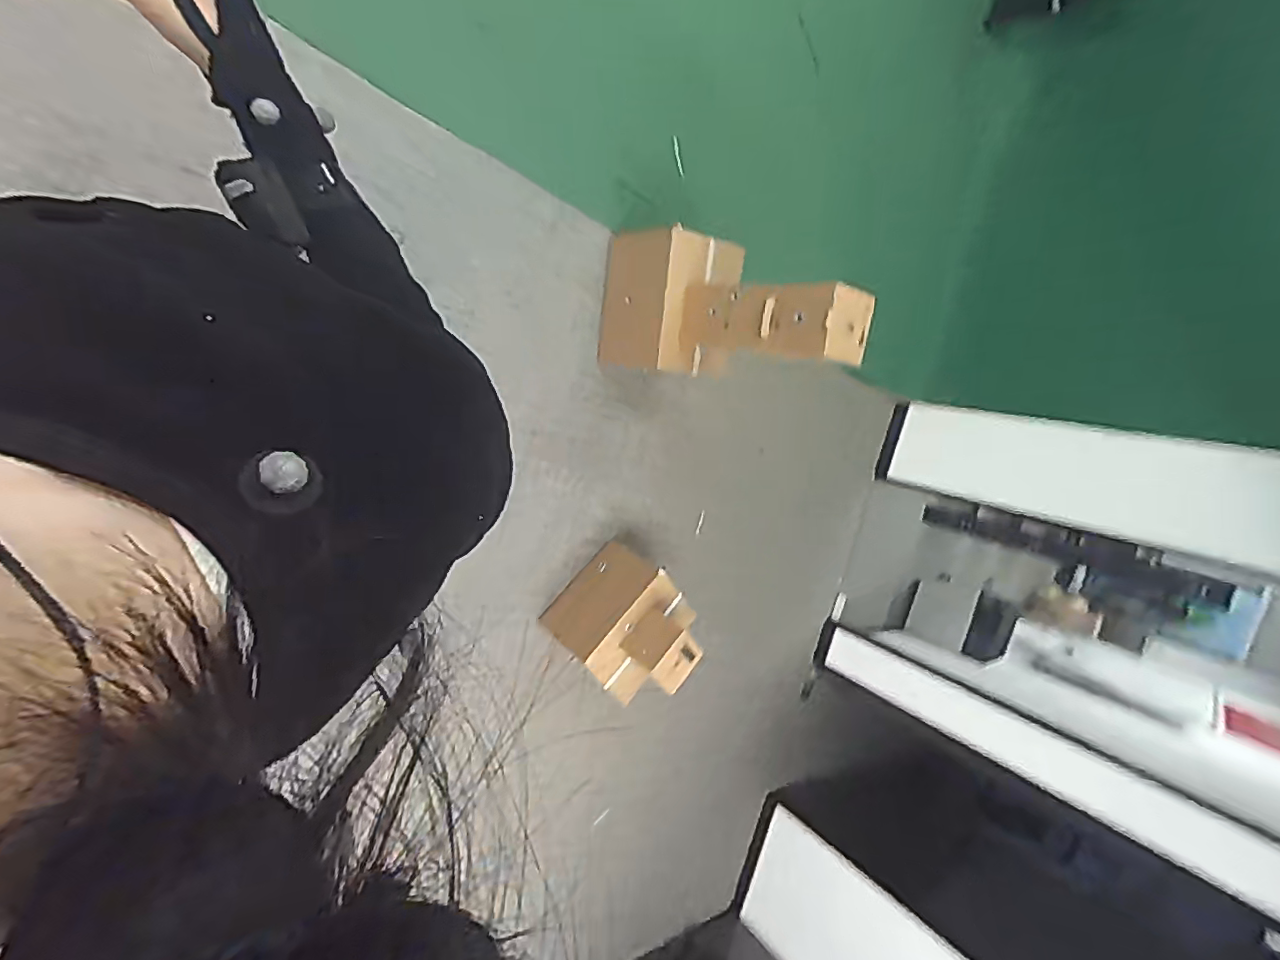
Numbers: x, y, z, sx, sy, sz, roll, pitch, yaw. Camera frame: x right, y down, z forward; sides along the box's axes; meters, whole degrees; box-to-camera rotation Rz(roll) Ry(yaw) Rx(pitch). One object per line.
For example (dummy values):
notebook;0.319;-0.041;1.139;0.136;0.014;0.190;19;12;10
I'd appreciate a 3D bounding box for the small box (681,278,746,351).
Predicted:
small box;0.240;-0.481;1.580;0.168;0.176;0.179;0;105;-39

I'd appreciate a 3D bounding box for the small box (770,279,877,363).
small box;0.450;-0.392;1.344;0.179;0.176;0.168;0;105;-39

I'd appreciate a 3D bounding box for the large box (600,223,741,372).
large box;0.088;-0.569;1.753;0.320;0.320;0.408;-6;107;-41

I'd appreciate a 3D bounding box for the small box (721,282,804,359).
small box;0.345;-0.429;1.464;0.179;0.176;0.168;2;104;-40
